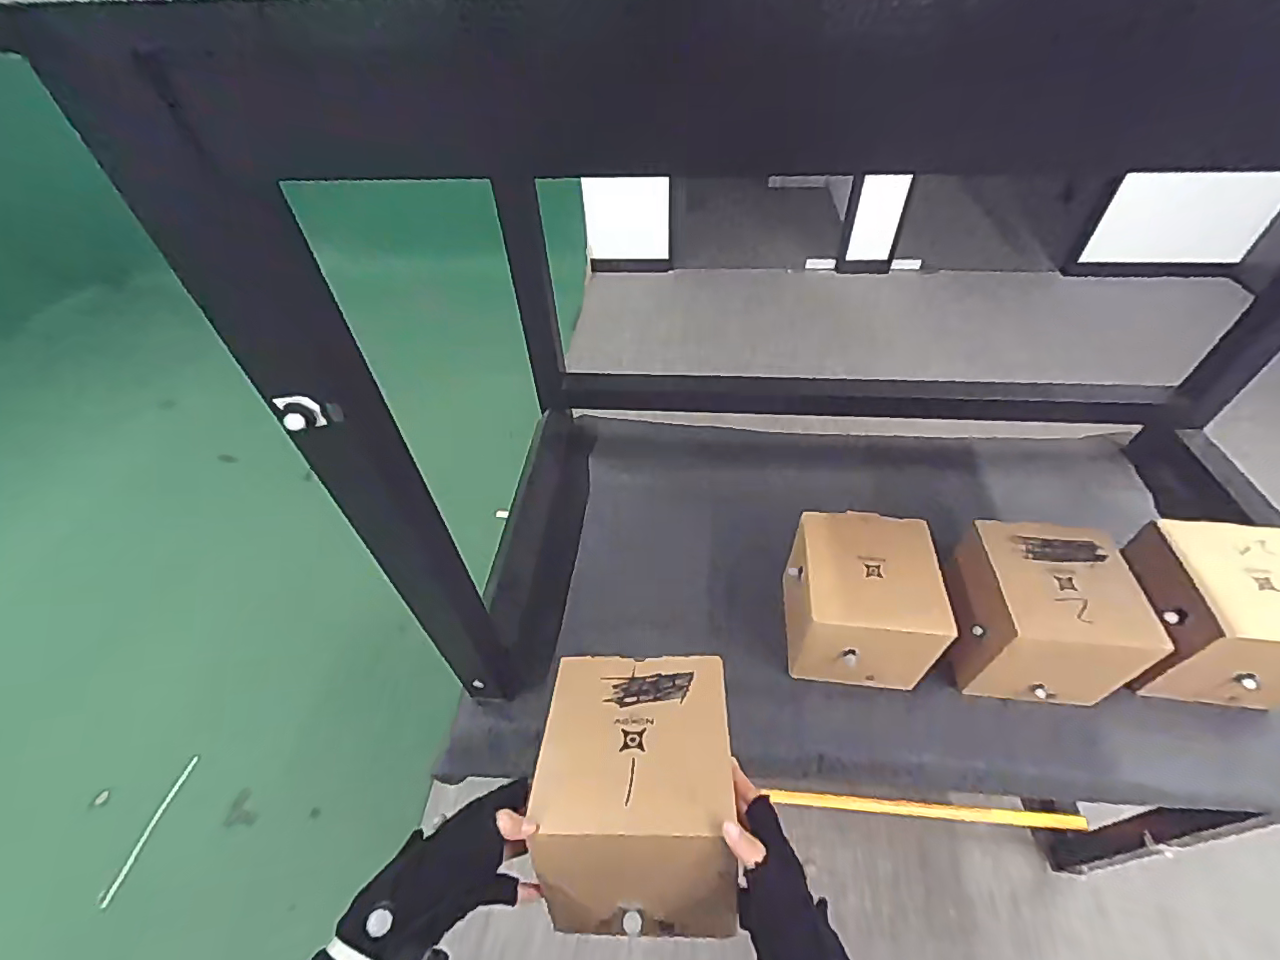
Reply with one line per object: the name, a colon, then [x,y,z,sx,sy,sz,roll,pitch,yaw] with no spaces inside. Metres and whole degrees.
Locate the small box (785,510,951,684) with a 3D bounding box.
small box: [0.298,0.164,0.750,0.168,0.176,0.179,4,47,7]

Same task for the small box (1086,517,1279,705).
small box: [0.749,0.174,0.712,0.168,0.176,0.179,5,47,8]
